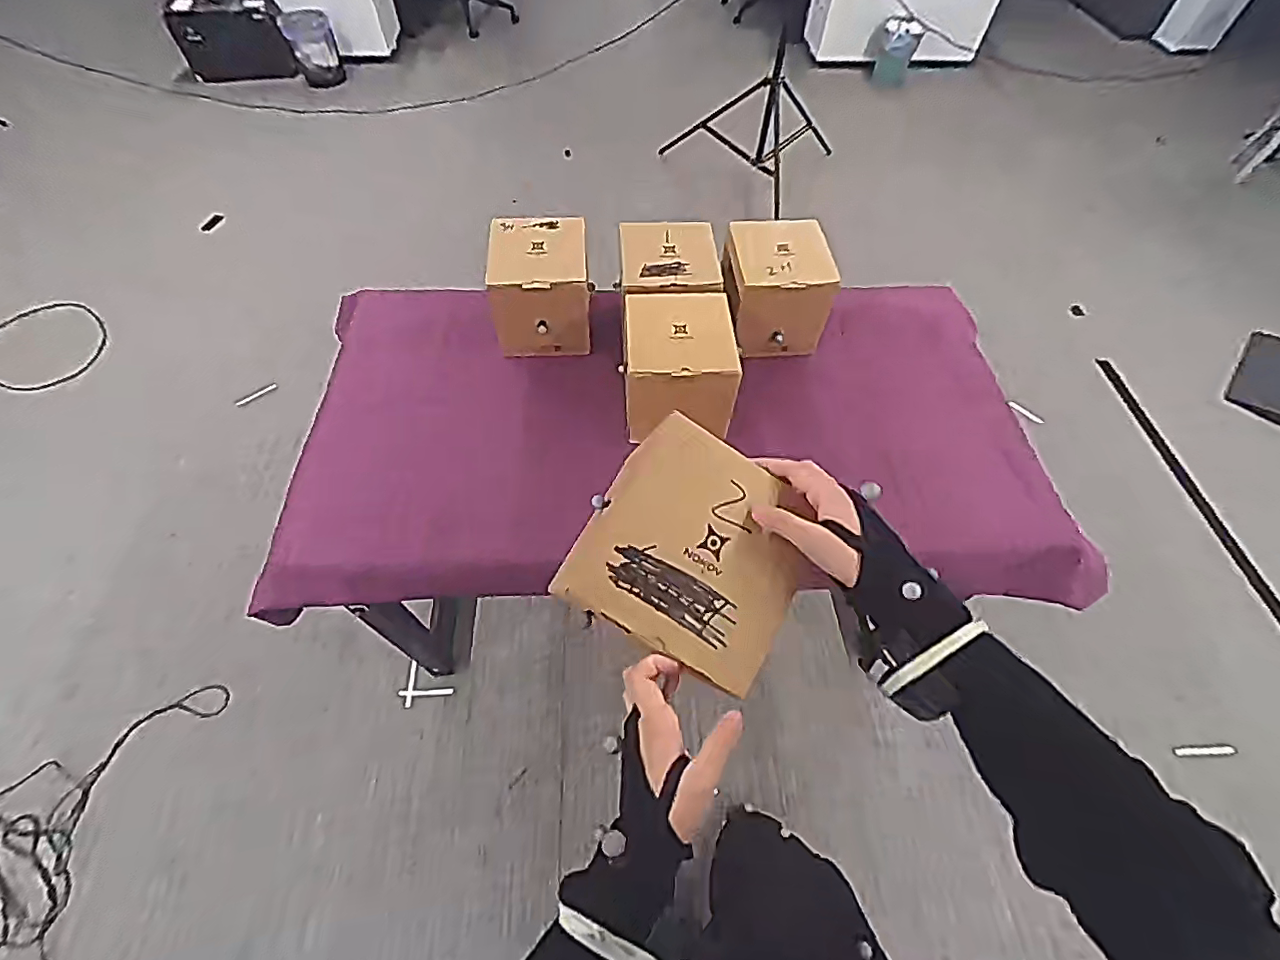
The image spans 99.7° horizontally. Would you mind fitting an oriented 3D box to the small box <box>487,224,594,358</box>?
[{"bbox_3d":[-0.172,-0.337,0.986,0.168,0.176,0.179,-2,60,-3],"label":"small box"}]
